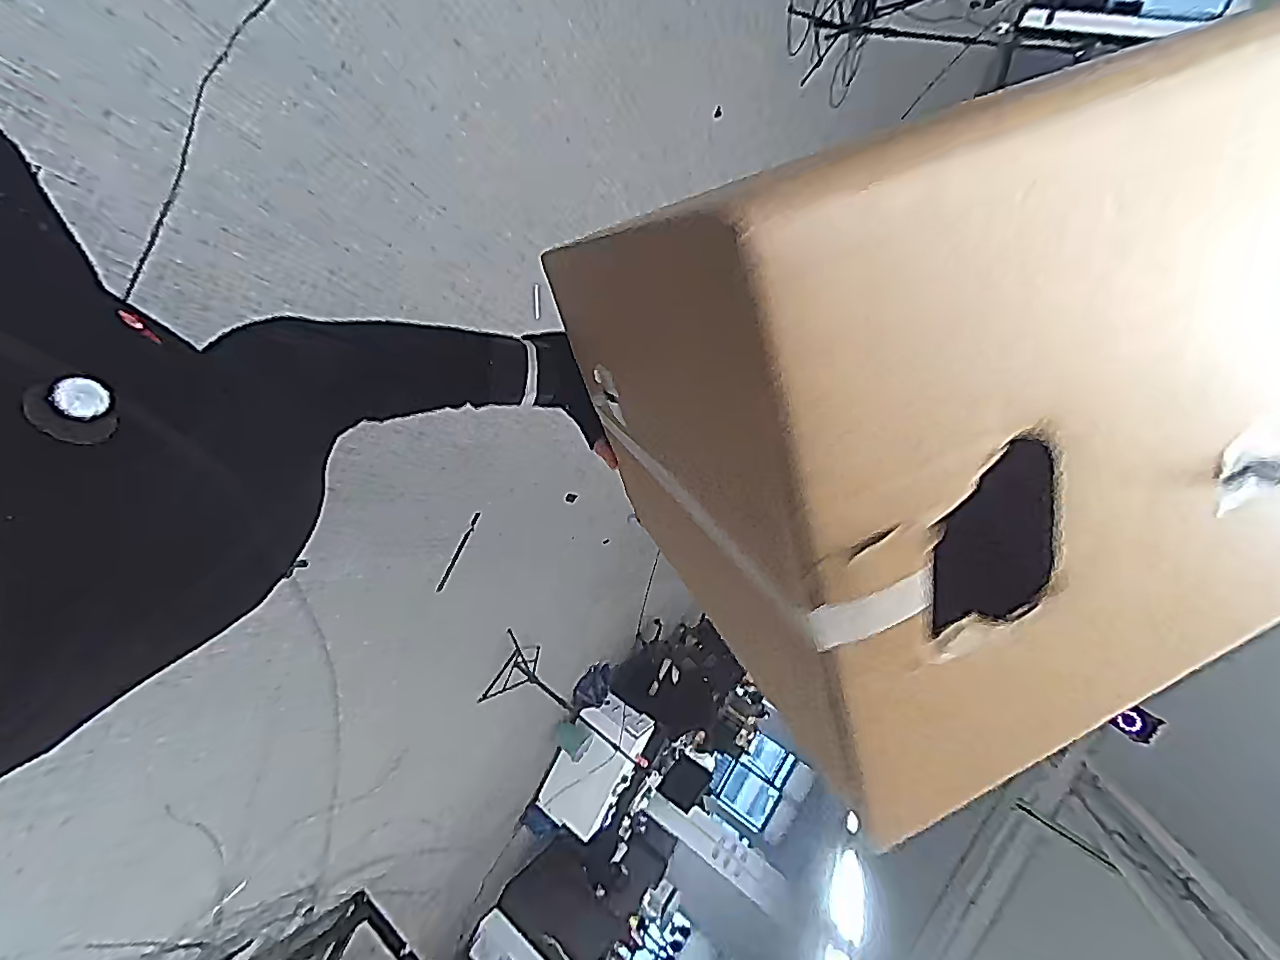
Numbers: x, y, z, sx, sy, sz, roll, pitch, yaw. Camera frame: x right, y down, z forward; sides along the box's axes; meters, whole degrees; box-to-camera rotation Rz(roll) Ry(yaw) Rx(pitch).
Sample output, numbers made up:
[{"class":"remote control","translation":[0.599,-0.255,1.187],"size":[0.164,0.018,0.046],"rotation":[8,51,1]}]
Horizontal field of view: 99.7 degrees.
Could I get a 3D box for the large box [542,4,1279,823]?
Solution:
[{"class":"large box","translation":[0.140,-0.067,0.418],"size":[0.320,0.408,0.320],"rotation":[-22,115,-7]}]
